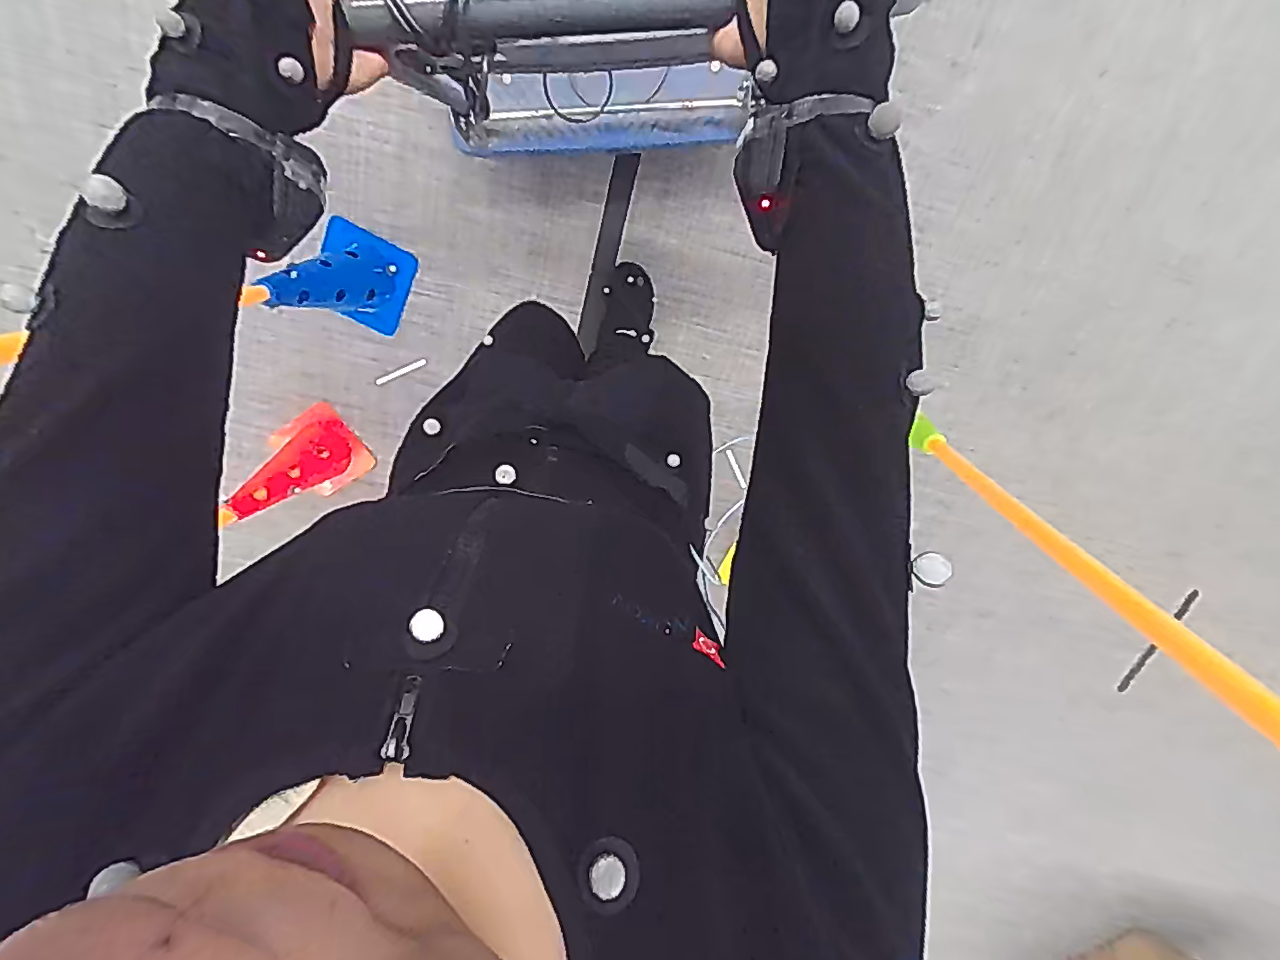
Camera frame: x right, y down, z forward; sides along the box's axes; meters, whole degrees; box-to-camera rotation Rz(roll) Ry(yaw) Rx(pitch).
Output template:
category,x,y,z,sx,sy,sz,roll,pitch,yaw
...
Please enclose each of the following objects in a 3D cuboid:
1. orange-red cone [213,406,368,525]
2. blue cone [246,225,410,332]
category,x,y,z,sx,sy,sz,roll,pitch,yaw
orange-red cone,-0.807,-0.002,1.199,0.199,0.360,0.198,-28,112,11
blue cone,-0.620,-0.375,1.047,0.193,0.380,0.192,27,112,-11
